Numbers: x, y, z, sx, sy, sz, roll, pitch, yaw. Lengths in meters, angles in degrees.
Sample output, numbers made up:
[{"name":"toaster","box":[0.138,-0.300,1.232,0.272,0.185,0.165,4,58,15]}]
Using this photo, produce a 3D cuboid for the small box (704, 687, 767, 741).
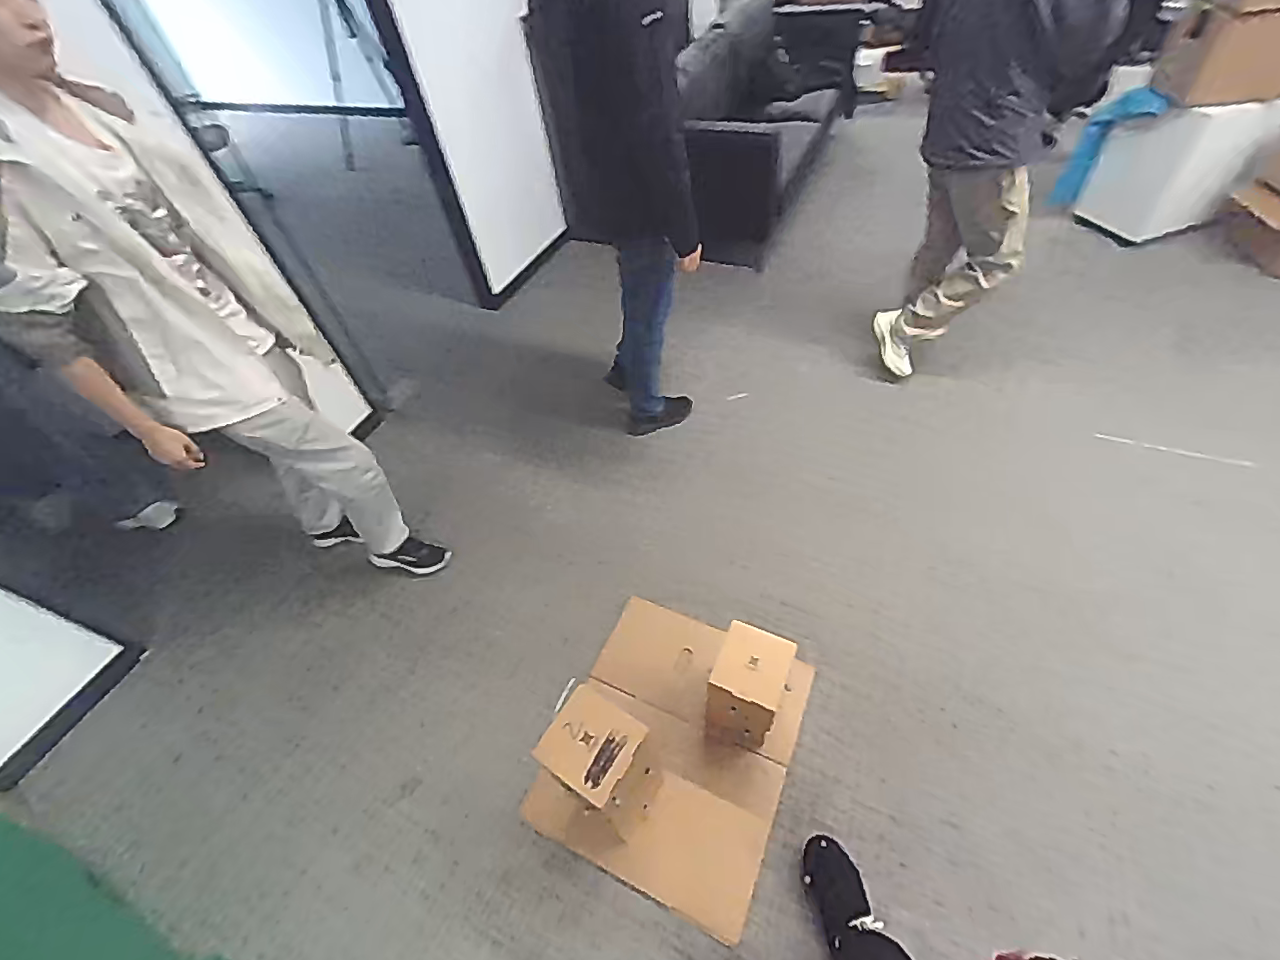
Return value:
[{"name":"small box","box":[0.284,0.581,1.473,0.168,0.176,0.179,18,56,21]}]

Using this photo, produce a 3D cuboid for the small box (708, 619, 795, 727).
[{"name":"small box","box":[0.273,0.482,1.346,0.168,0.176,0.179,18,57,20]}]

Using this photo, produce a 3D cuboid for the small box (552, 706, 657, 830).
[{"name":"small box","box":[-0.071,0.660,1.238,0.168,0.176,0.179,24,58,25]}]

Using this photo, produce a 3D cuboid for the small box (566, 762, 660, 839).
[{"name":"small box","box":[-0.061,0.765,1.366,0.168,0.176,0.179,24,58,25]}]
